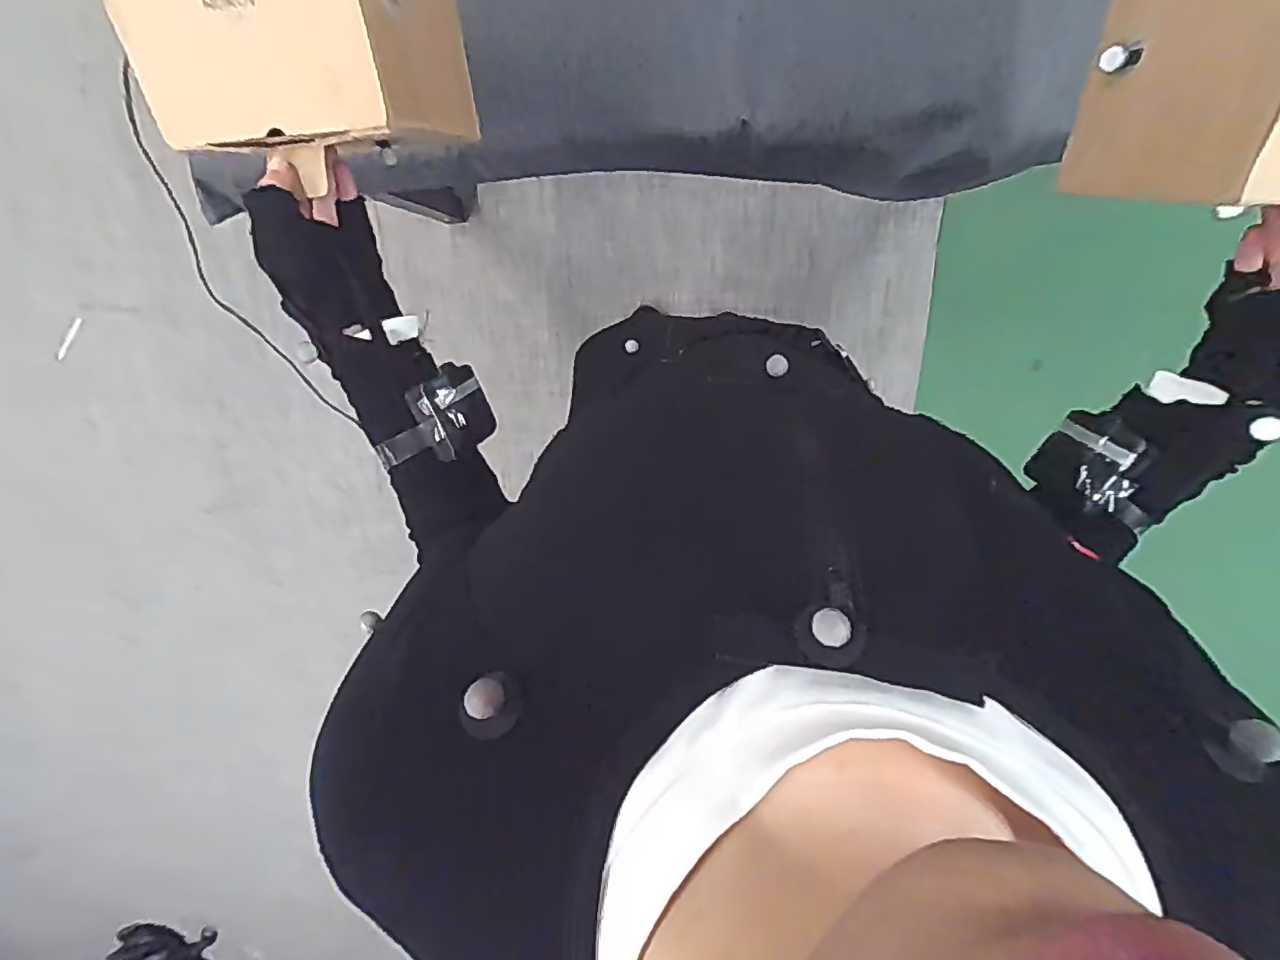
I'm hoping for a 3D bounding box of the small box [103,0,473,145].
[{"bbox_3d":[-0.237,-0.344,0.381,0.168,0.176,0.179,0,120,7],"label":"small box"}]

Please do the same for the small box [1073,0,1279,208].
[{"bbox_3d":[0.422,-0.276,0.333,0.168,0.176,0.179,-1,121,2],"label":"small box"}]
